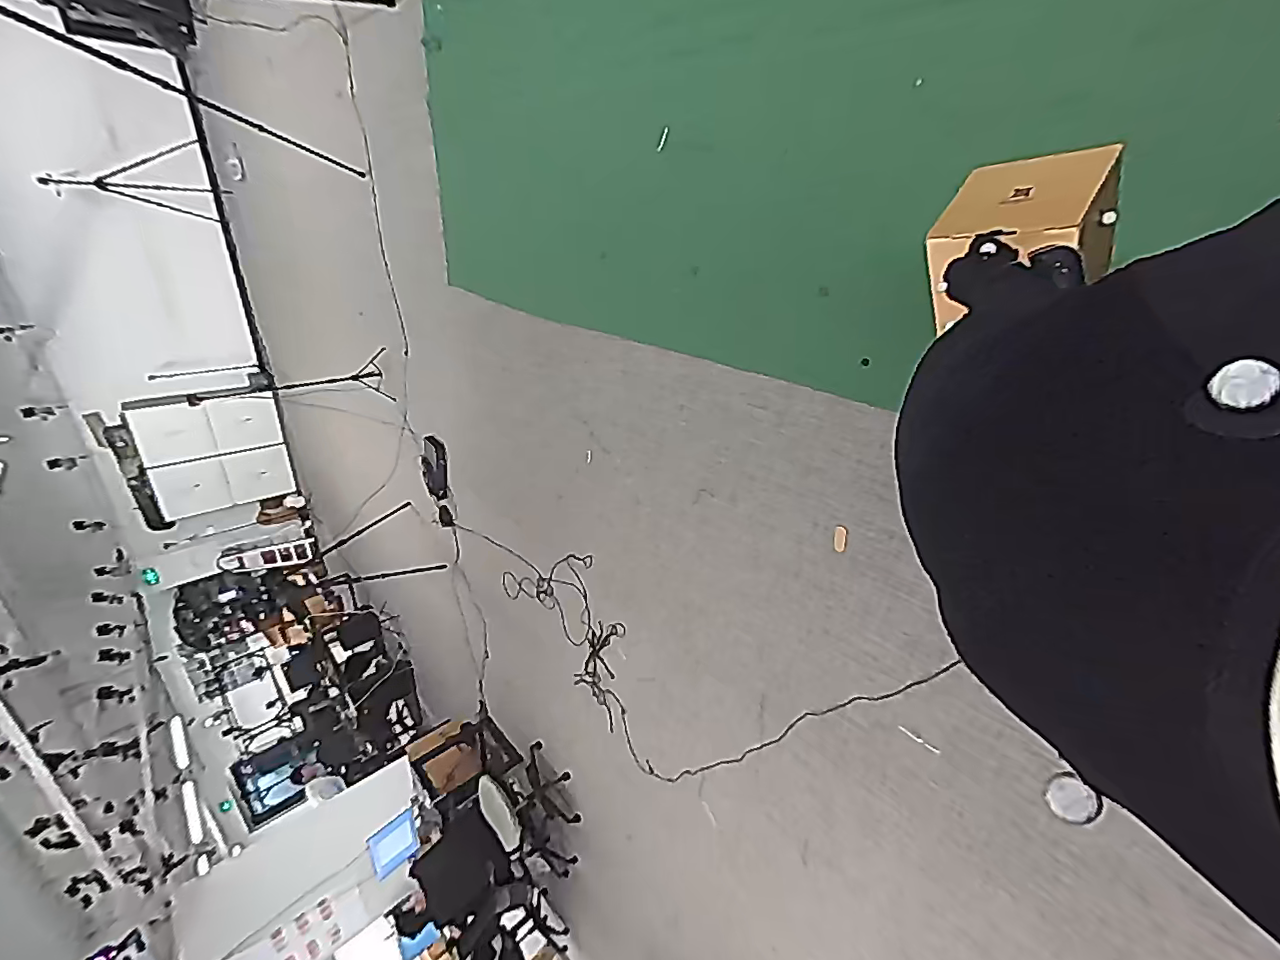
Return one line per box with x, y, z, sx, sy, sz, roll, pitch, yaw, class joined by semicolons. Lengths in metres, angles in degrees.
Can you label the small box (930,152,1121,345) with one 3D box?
0.527;-0.312;0.748;0.168;0.179;0.176;18;152;45;small box
